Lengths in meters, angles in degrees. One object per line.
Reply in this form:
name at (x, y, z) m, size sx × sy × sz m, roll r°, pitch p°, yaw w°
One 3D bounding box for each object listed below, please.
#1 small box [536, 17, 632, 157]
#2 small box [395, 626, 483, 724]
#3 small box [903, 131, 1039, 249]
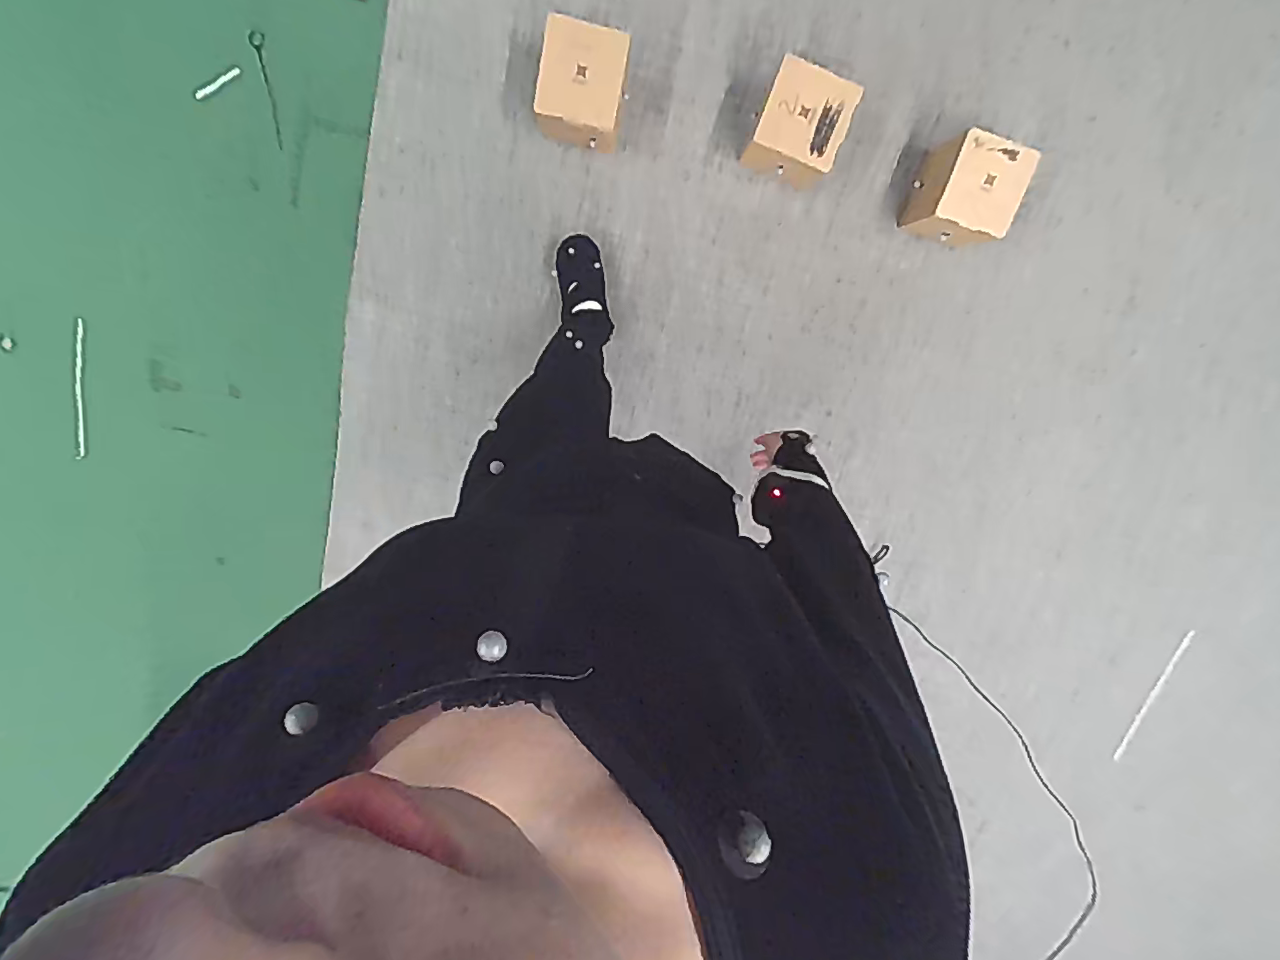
small box at (-0.113, -0.820, 1.151) m, size 0.168 × 0.176 × 0.179 m, roll 13°, pitch 105°, yaw -5°
small box at (-0.567, 0.550, 1.547) m, size 0.168 × 0.176 × 0.179 m, roll 23°, pitch 105°, yaw -6°
small box at (0.721, -0.632, 1.205) m, size 0.168 × 0.176 × 0.179 m, roll 17°, pitch 106°, yaw -5°
